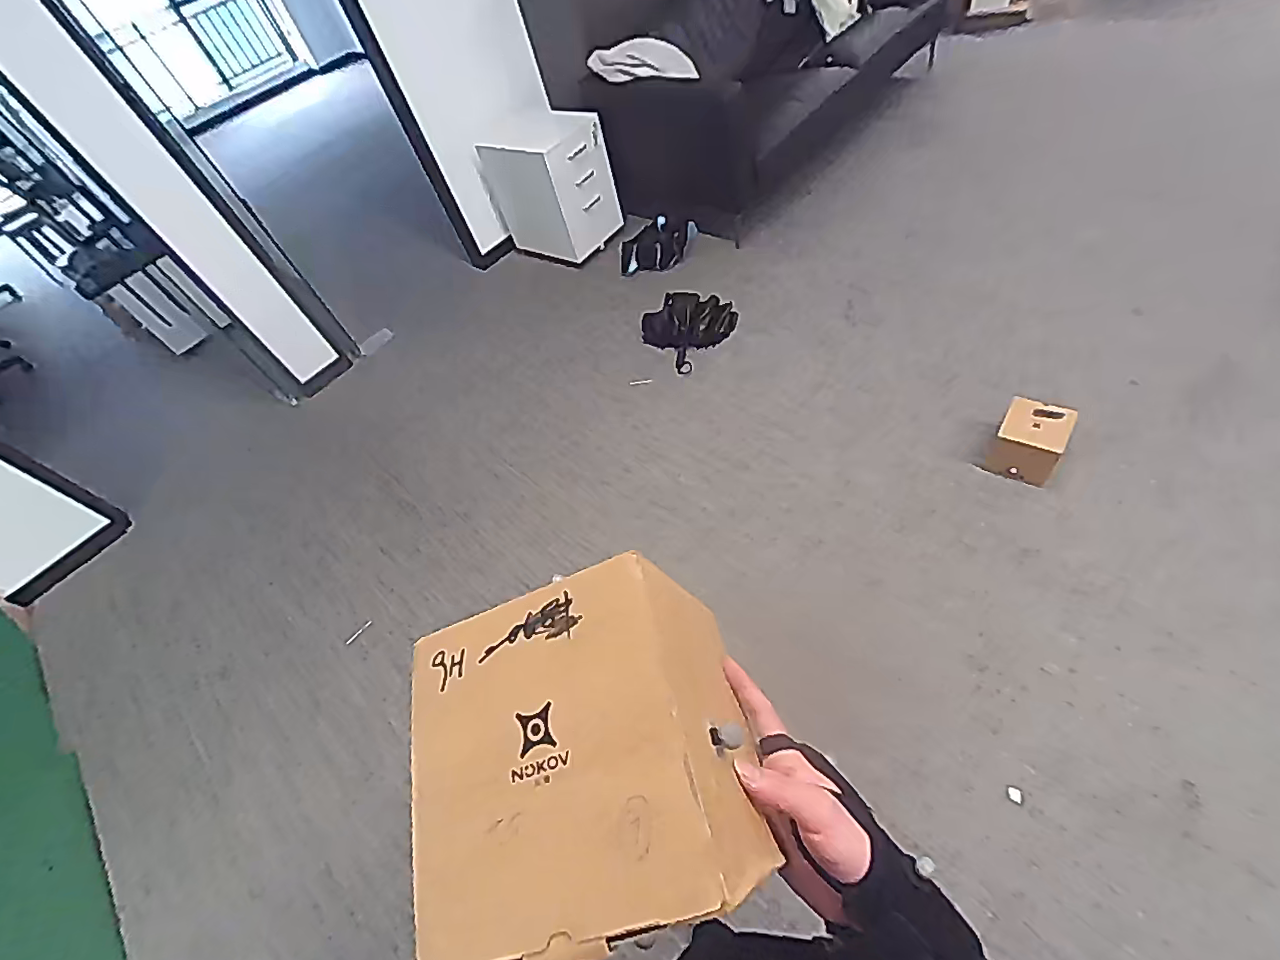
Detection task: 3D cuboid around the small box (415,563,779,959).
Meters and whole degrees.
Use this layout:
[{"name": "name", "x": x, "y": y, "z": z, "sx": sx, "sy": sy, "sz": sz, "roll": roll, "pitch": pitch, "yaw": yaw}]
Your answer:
[{"name": "small box", "x": -0.023, "y": 0.183, "z": 0.361, "sx": 0.168, "sy": 0.176, "sz": 0.179, "roll": -25, "pitch": 57, "yaw": 12}]

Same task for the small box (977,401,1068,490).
[{"name": "small box", "x": 1.155, "y": -0.103, "z": 1.645, "sx": 0.168, "sy": 0.176, "sz": 0.179, "roll": 24, "pitch": 63, "yaw": 30}]
